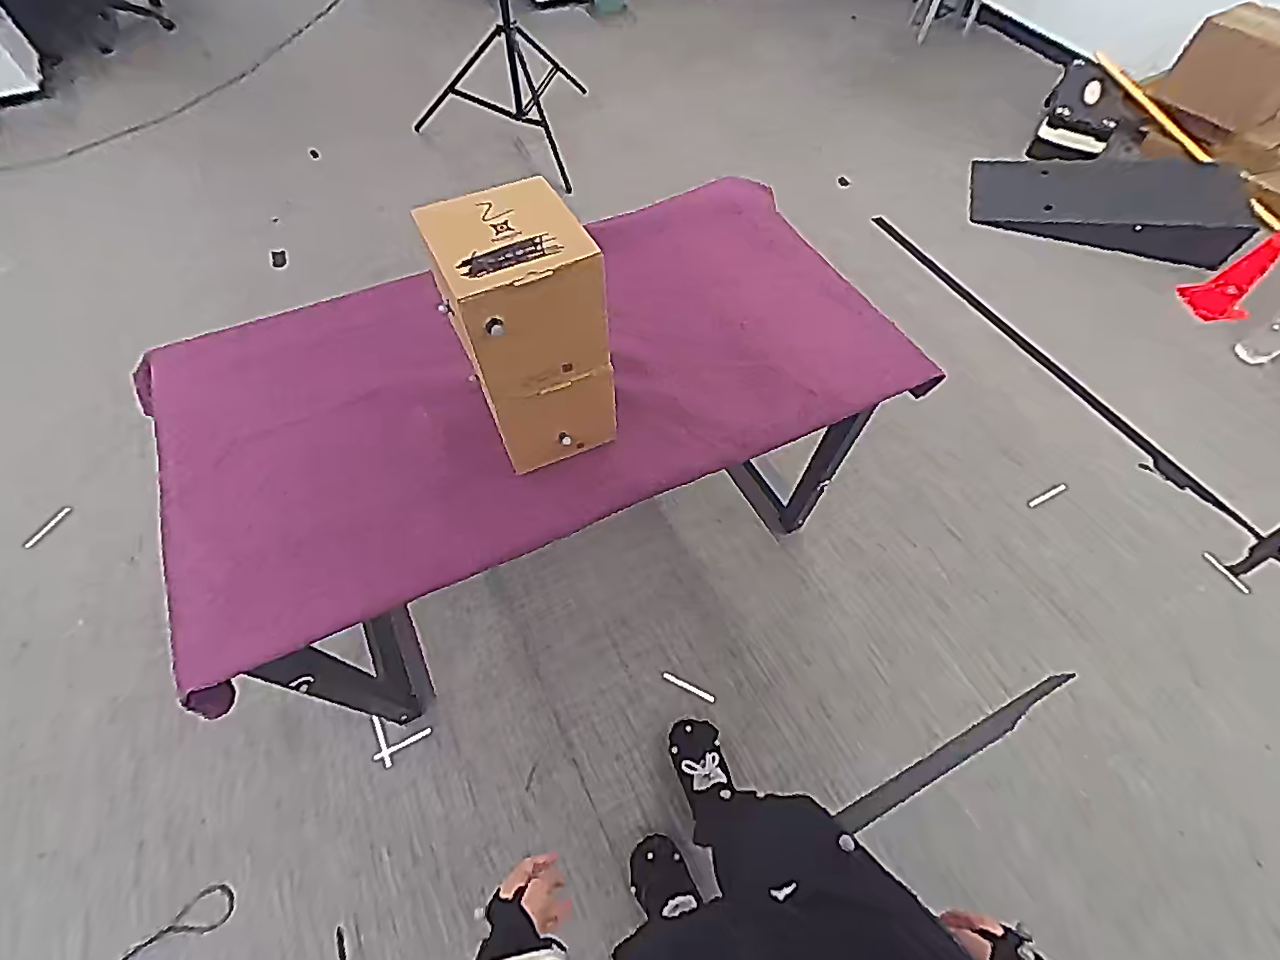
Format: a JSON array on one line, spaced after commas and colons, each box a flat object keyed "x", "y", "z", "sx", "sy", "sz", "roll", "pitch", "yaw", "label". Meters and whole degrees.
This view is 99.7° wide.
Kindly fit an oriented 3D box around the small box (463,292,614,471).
[{"x": -0.147, "y": -0.144, "z": 0.814, "sx": 0.168, "sy": 0.176, "sz": 0.179, "roll": -22, "pitch": 62, "yaw": -13, "label": "small box"}]
